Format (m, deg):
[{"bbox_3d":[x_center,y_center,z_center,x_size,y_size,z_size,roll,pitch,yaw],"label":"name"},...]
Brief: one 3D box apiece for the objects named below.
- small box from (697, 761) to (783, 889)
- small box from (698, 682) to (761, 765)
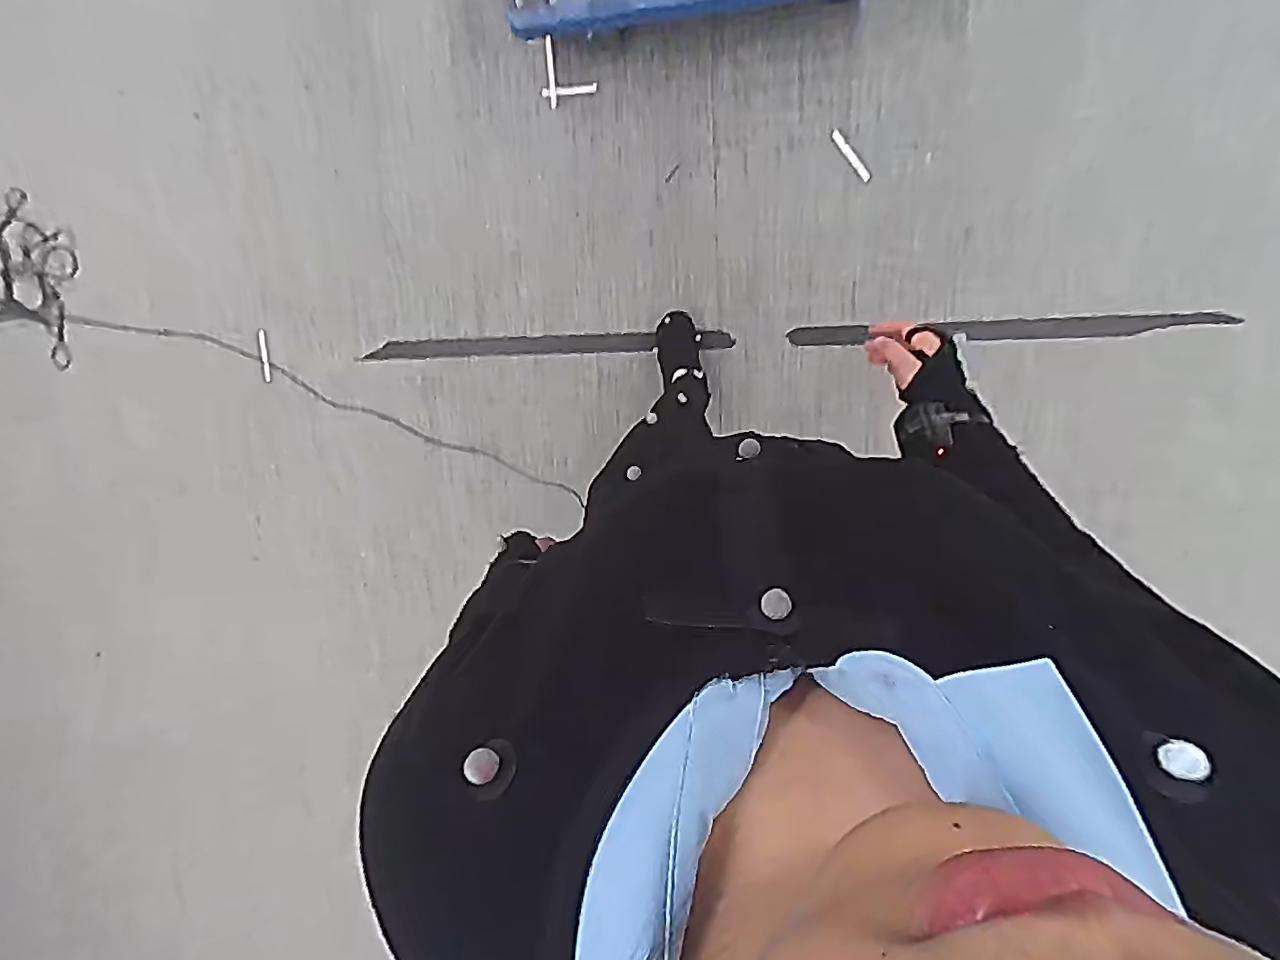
[{"bbox_3d":[0.216,0.759,1.199,0.168,0.176,0.179,-7,99,6],"label":"small box"},{"bbox_3d":[0.249,0.692,1.520,0.168,0.176,0.179,-3,100,6],"label":"small box"}]
